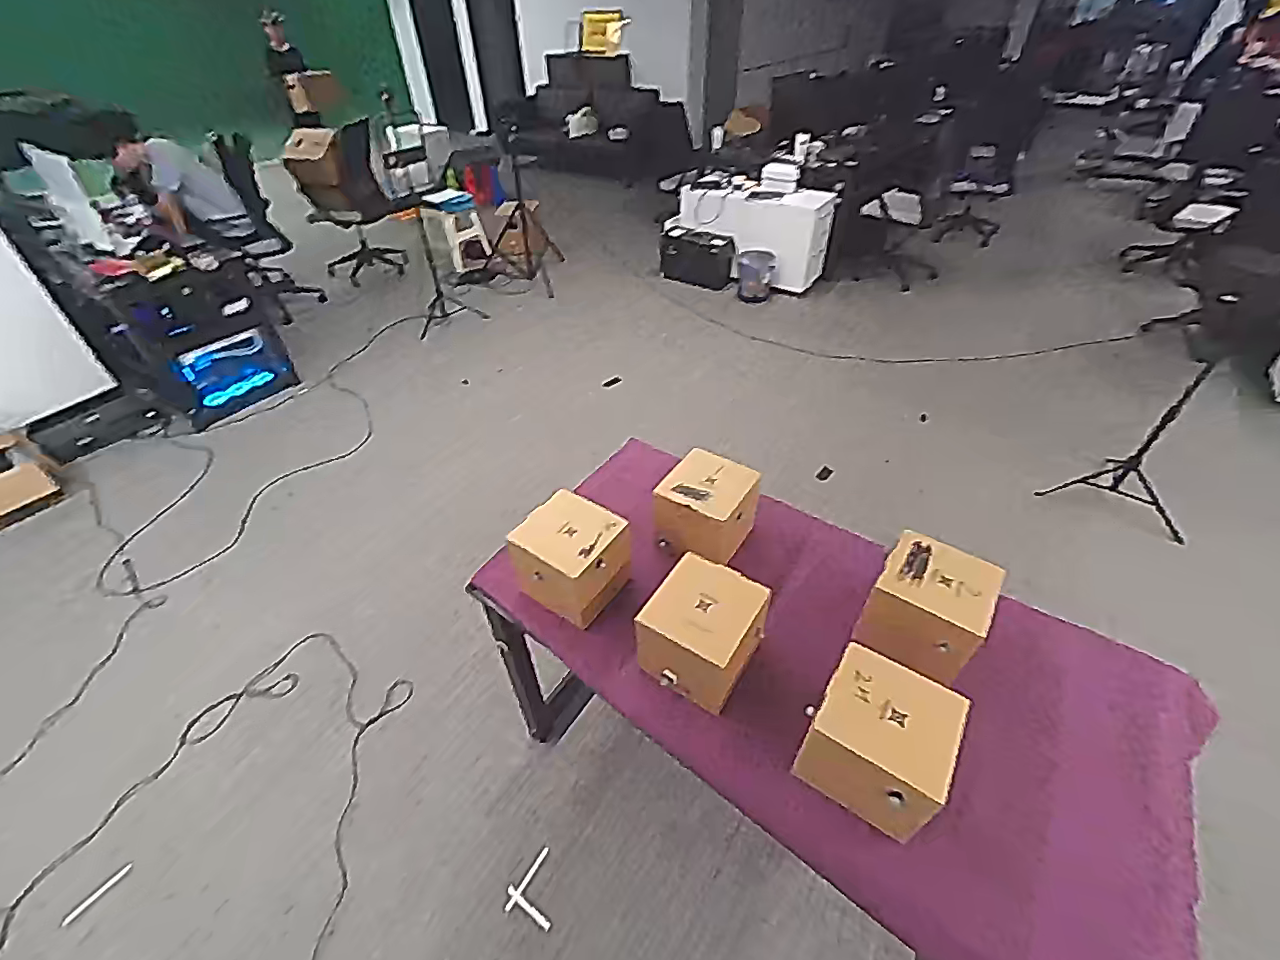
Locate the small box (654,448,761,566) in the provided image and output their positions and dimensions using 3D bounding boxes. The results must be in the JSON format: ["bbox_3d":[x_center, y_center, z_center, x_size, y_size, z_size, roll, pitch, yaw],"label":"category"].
[{"bbox_3d":[0.146,0.065,1.177,0.168,0.176,0.179,24,48,25],"label":"small box"}]

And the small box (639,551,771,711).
[{"bbox_3d":[0.112,0.266,0.958,0.168,0.176,0.179,23,50,26],"label":"small box"}]

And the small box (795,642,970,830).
[{"bbox_3d":[0.355,0.387,0.811,0.179,0.176,0.168,24,48,26],"label":"small box"}]

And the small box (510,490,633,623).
[{"bbox_3d":[-0.131,0.154,1.085,0.179,0.176,0.168,25,49,27],"label":"small box"}]
